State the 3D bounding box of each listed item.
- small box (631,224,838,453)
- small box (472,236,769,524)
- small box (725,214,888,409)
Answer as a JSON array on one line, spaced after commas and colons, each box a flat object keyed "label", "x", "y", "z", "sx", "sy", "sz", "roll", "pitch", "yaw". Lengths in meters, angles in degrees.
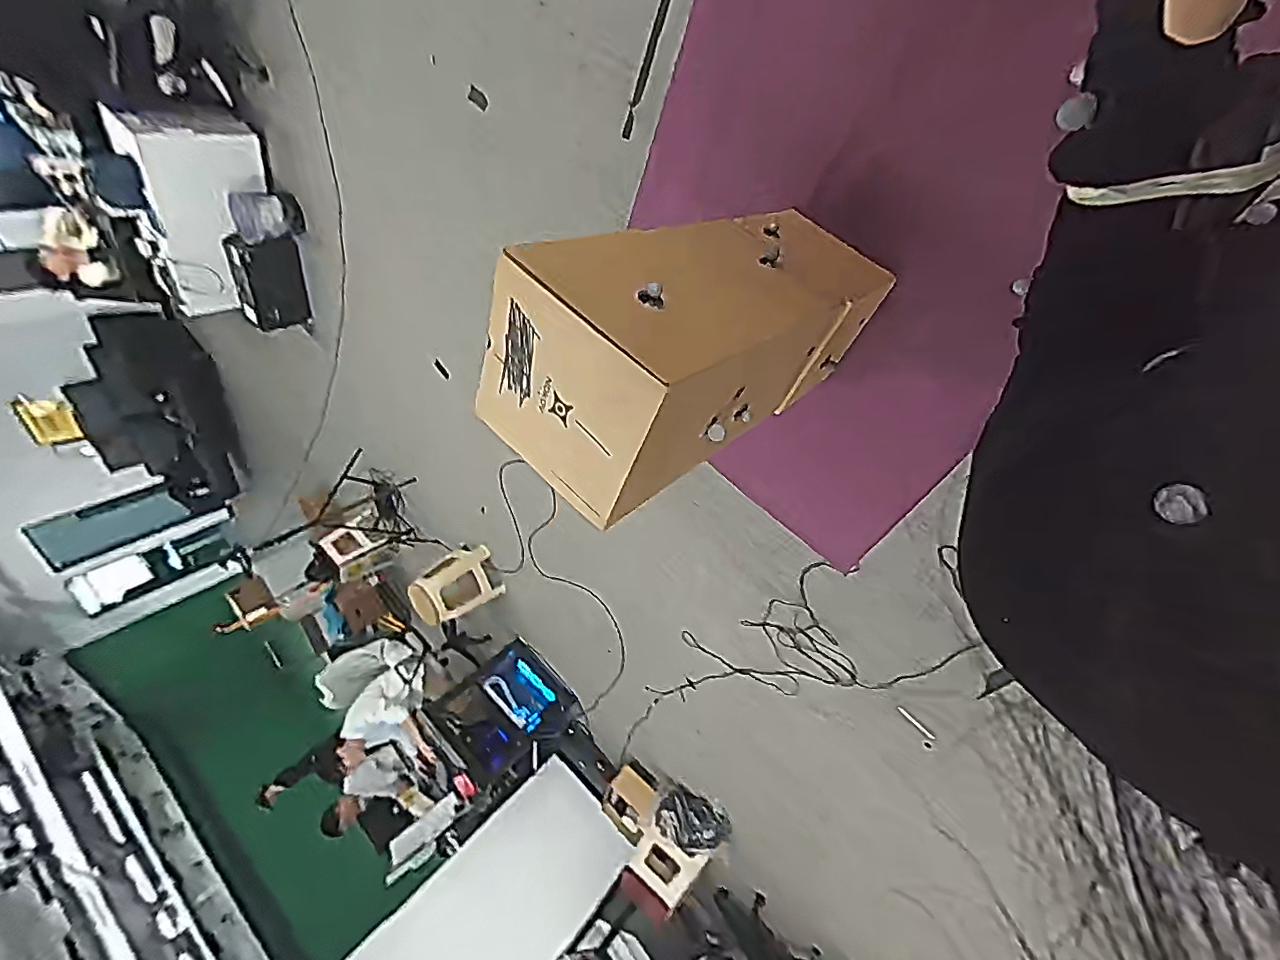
[{"label": "small box", "x": 0.080, "y": -0.164, "z": 0.599, "sx": 0.179, "sy": 0.176, "sz": 0.168, "roll": 42, "pitch": 136, "yaw": 17}, {"label": "small box", "x": -0.021, "y": -0.099, "z": 0.486, "sx": 0.179, "sy": 0.176, "sz": 0.168, "roll": 42, "pitch": 136, "yaw": 16}, {"label": "small box", "x": 0.187, "y": -0.228, "z": 0.706, "sx": 0.179, "sy": 0.176, "sz": 0.168, "roll": 42, "pitch": 136, "yaw": 16}]
